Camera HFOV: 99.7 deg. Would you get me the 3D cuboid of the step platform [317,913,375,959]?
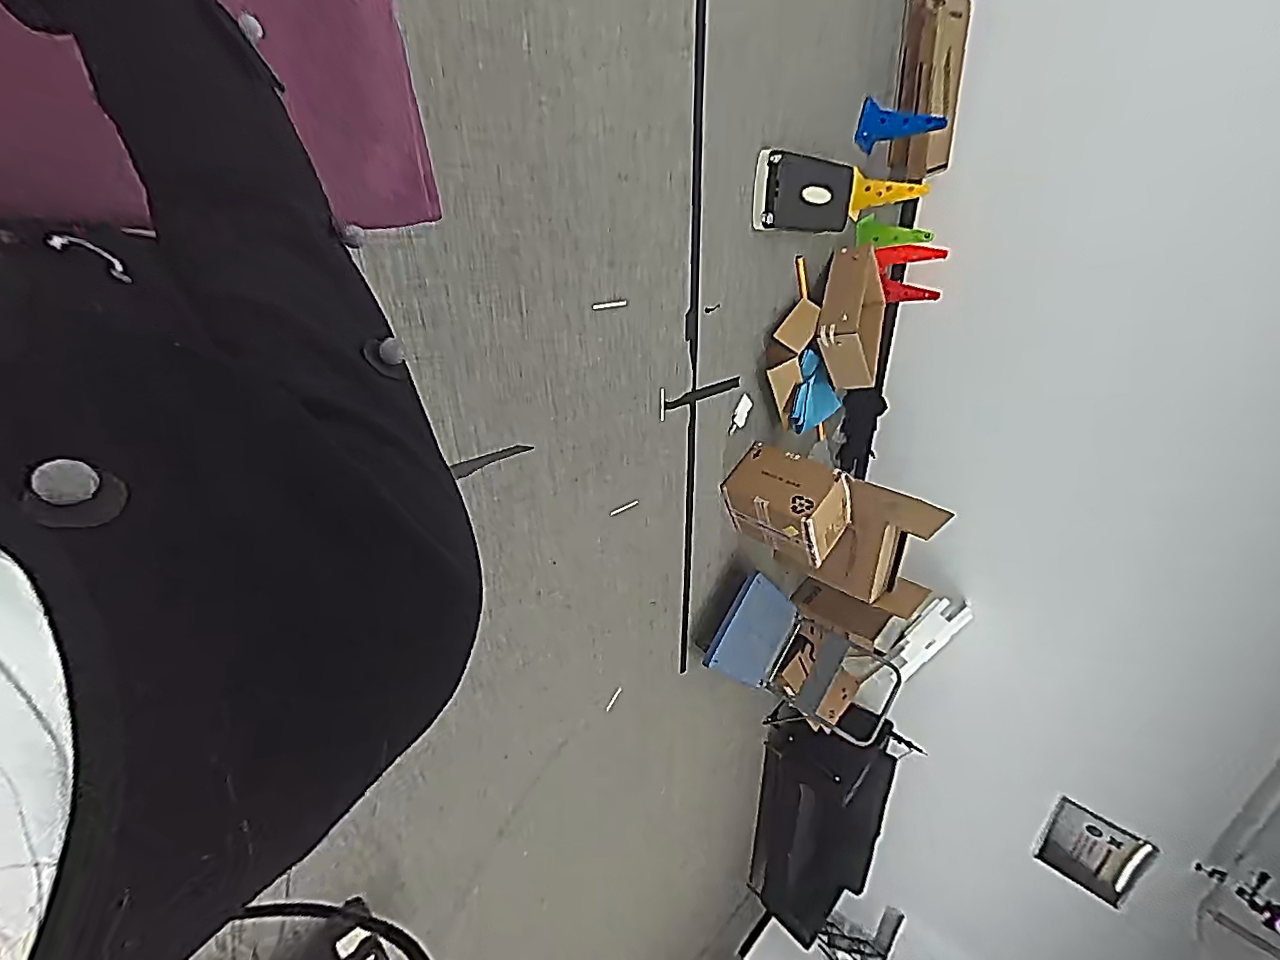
[{"bbox_3d":[-1.135,1.682,1.589,0.684,0.204,0.286,-25,126,-41],"label":"step platform"}]
